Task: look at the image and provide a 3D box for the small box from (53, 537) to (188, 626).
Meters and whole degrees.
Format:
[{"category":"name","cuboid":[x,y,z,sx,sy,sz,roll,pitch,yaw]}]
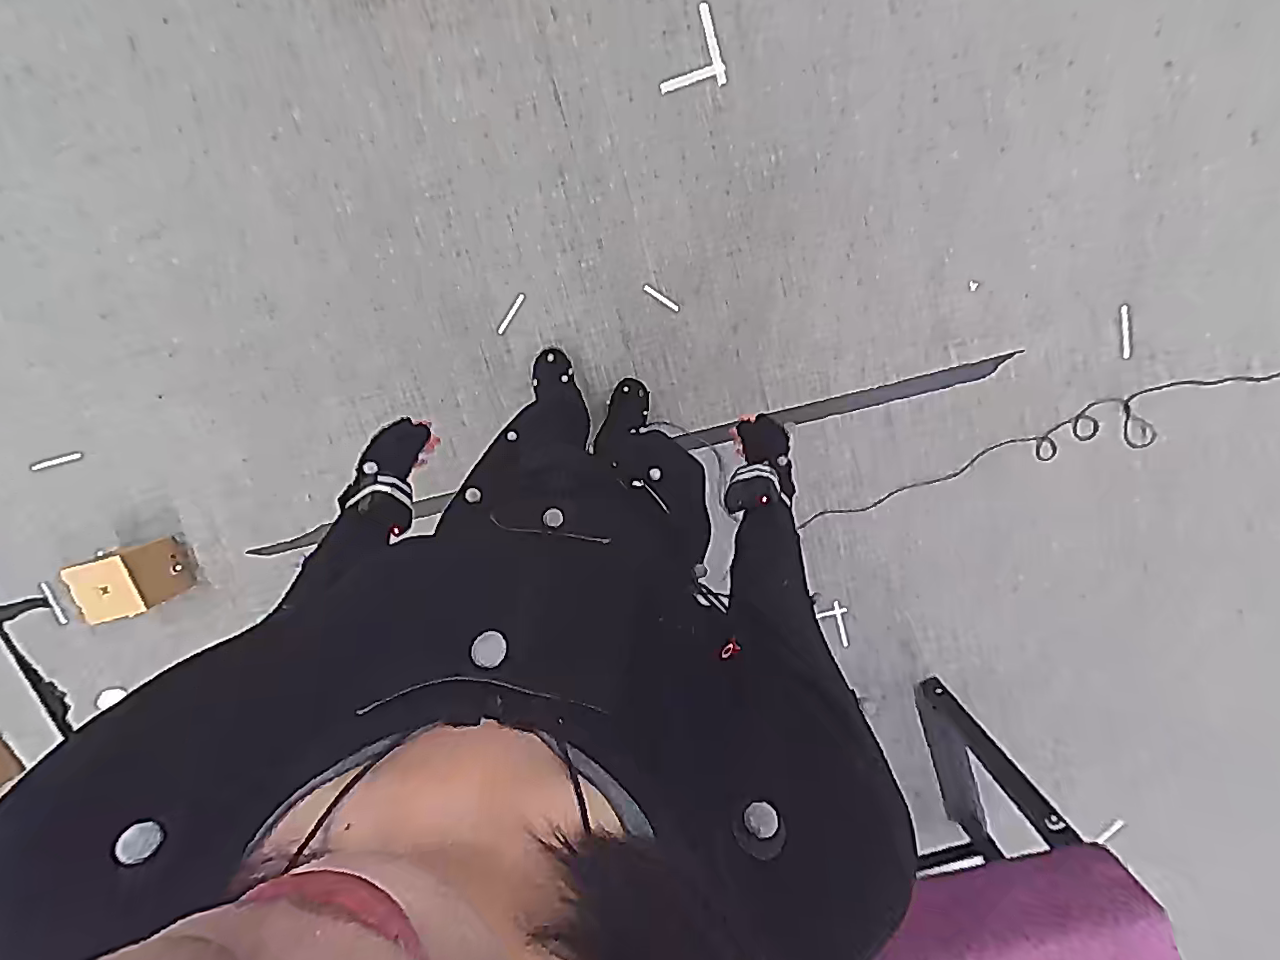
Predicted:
[{"category":"small box","cuboid":[-1.420,0.275,1.490,0.179,0.176,0.168,-15,103,2]}]
